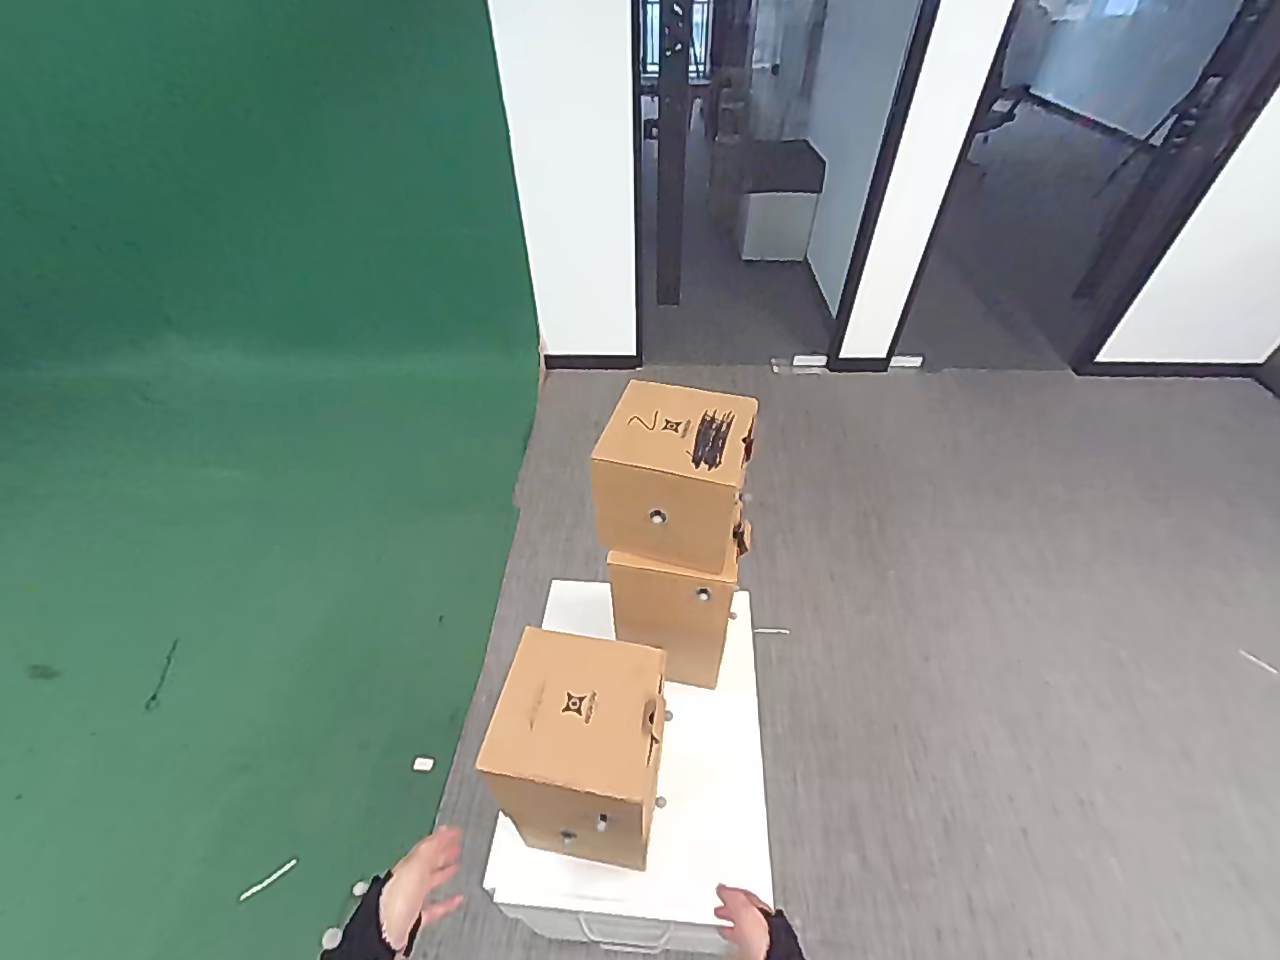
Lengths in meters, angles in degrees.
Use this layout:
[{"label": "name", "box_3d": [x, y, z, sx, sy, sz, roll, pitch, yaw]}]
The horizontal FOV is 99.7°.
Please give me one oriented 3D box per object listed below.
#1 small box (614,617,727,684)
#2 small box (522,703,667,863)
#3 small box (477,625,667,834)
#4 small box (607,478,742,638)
[{"label": "small box", "box_3d": [0.061, 0.233, 0.942, 0.179, 0.176, 0.168, 8, 46, 9]}, {"label": "small box", "box_3d": [-0.063, 0.413, 0.761, 0.179, 0.176, 0.168, 8, 45, 7]}, {"label": "small box", "box_3d": [-0.066, 0.299, 0.646, 0.179, 0.176, 0.168, 6, 43, 7]}, {"label": "small box", "box_3d": [0.054, 0.120, 0.825, 0.179, 0.176, 0.168, 8, 46, 7]}]
